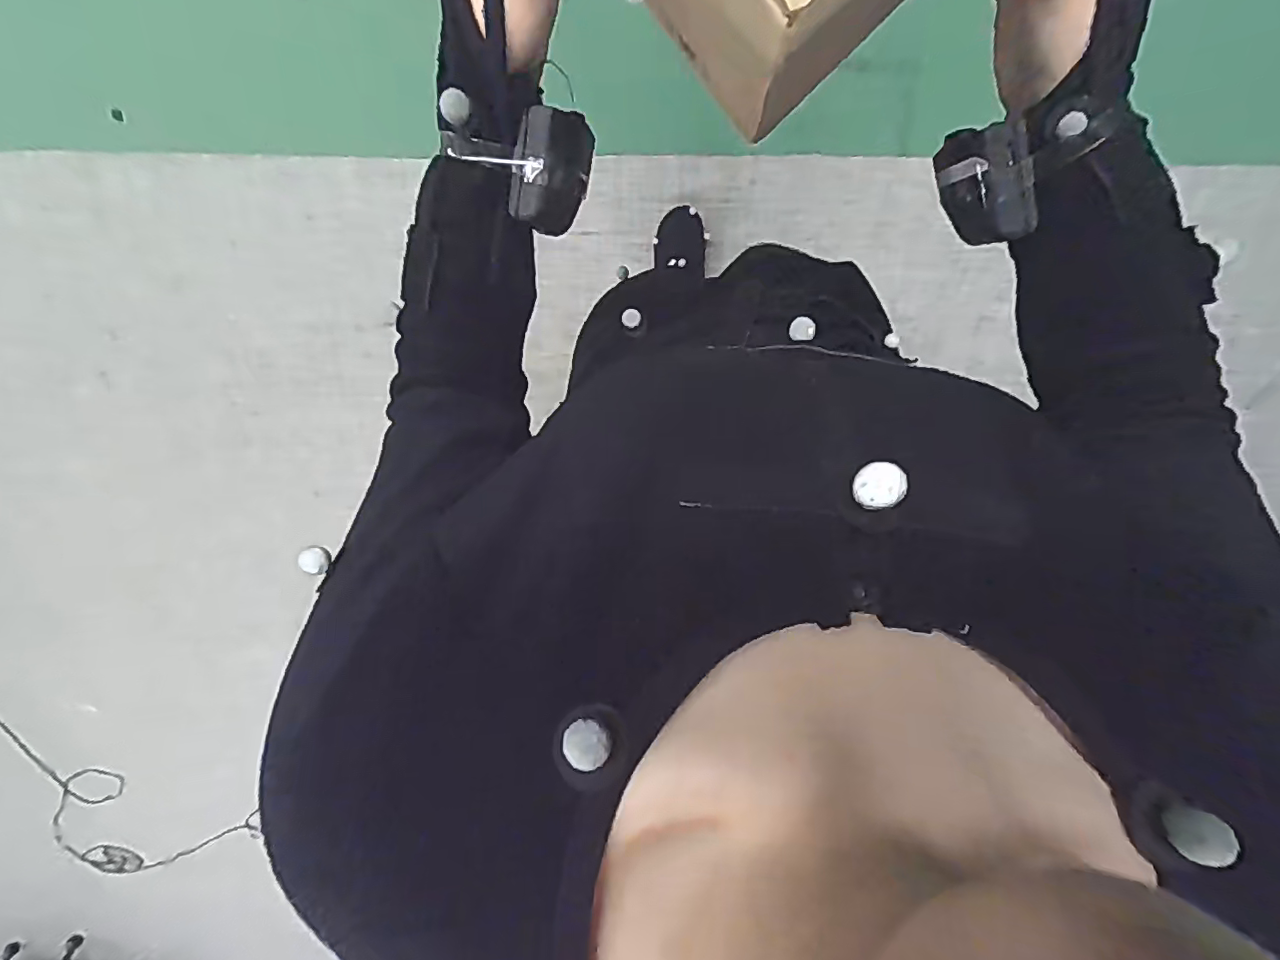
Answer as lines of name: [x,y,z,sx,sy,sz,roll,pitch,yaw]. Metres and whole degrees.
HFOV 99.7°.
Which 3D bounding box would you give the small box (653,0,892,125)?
small box: [0.066,-0.290,0.217,0.179,0.176,0.168,-39,100,19]
